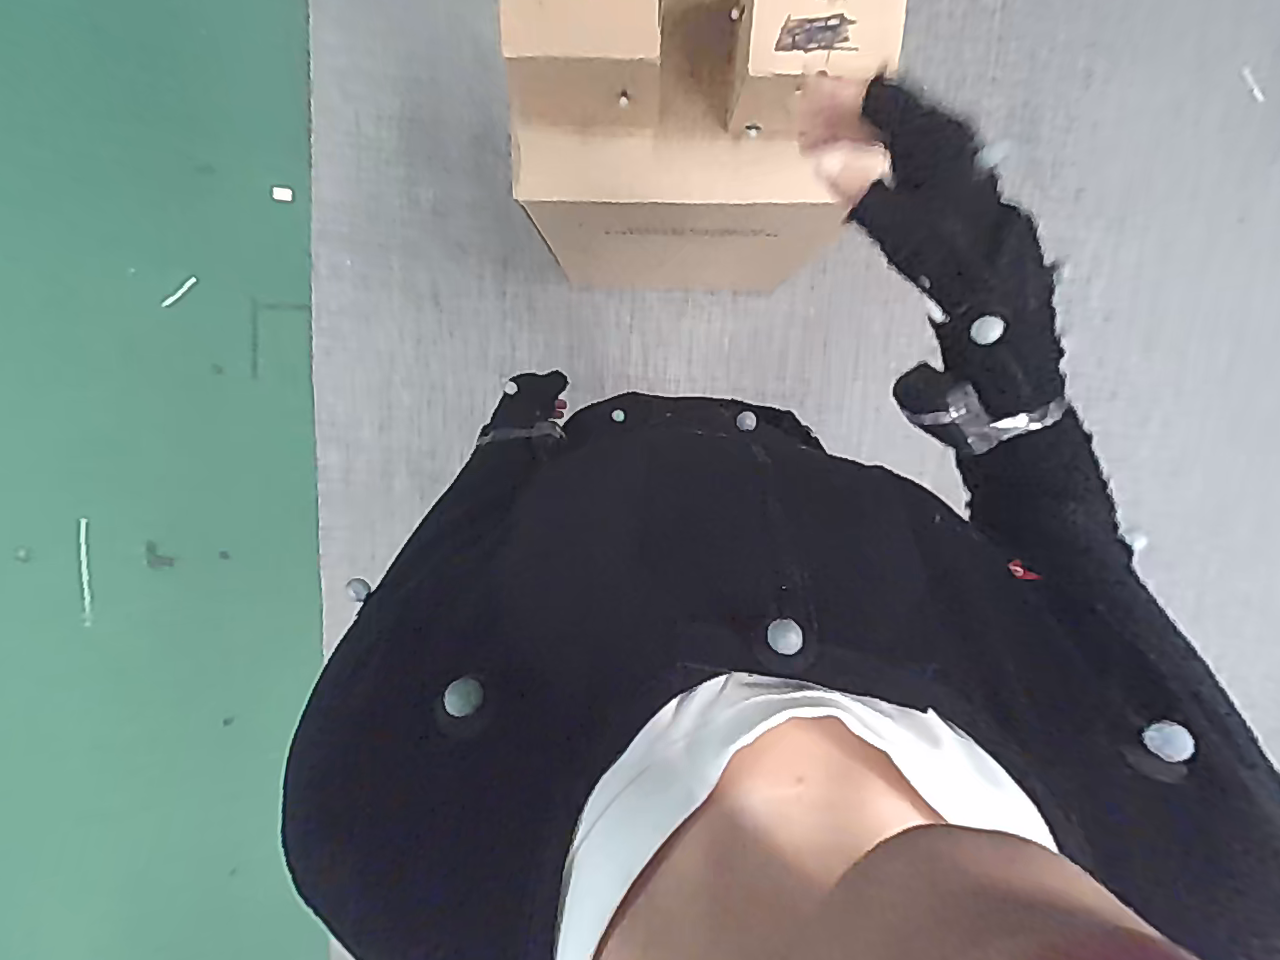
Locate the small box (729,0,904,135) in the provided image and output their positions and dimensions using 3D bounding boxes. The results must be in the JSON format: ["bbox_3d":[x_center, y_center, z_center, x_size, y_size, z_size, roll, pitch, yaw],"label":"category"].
[{"bbox_3d":[0.204,-0.545,0.654,0.168,0.176,0.179,4,102,0],"label":"small box"}]

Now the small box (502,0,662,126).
[{"bbox_3d":[-0.061,-0.560,0.660,0.179,0.176,0.168,1,101,2],"label":"small box"}]
